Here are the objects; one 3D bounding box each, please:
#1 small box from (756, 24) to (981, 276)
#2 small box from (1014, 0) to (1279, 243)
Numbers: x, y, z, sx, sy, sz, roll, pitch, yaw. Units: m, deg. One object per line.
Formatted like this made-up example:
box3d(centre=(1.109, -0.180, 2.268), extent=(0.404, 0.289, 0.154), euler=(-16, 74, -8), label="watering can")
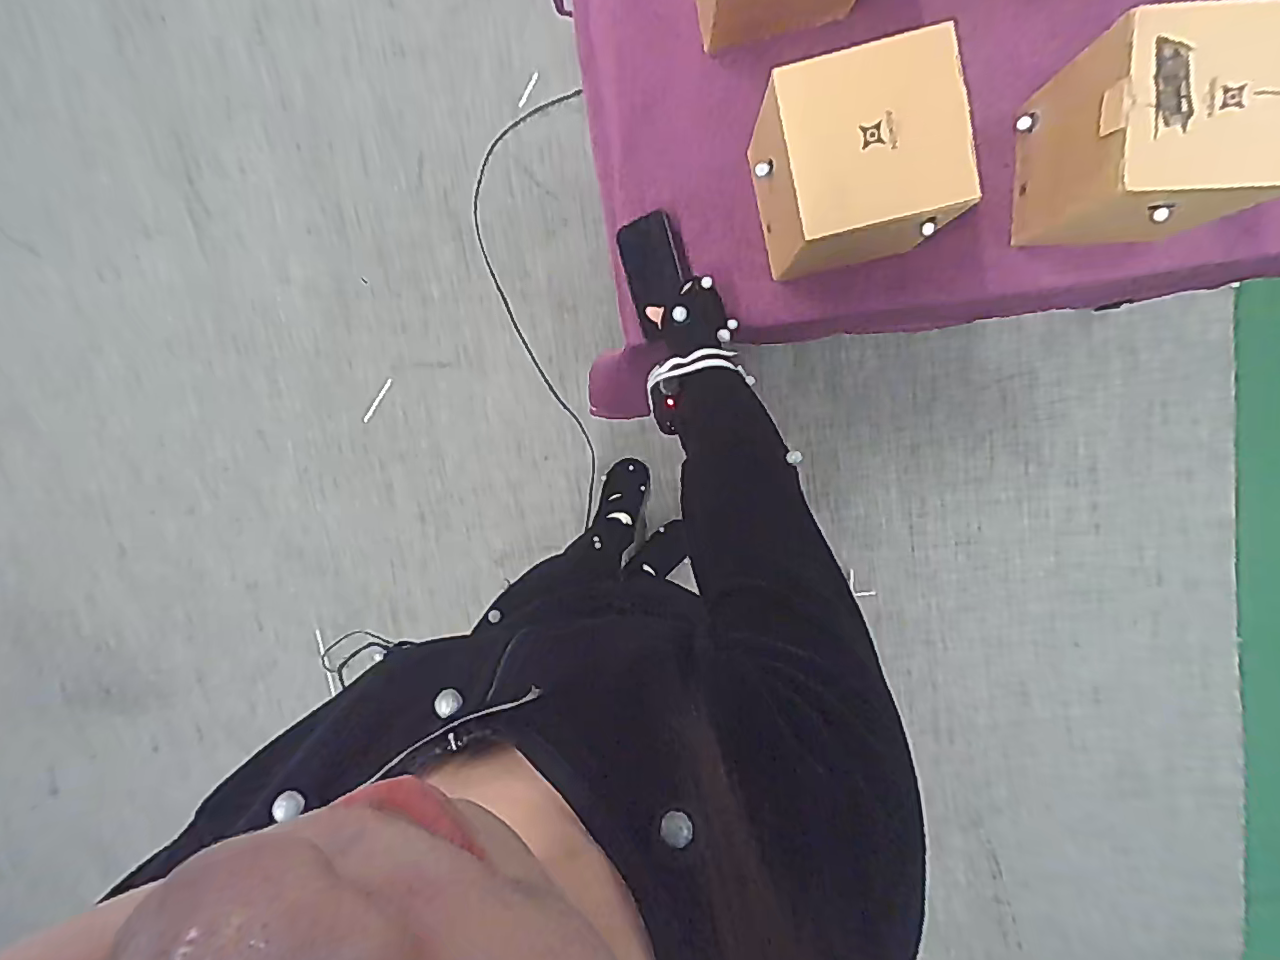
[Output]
box3d(centre=(0.235, -0.345, 0.605), extent=(0.179, 0.176, 0.168), euler=(-13, 96, 3), label="small box")
box3d(centre=(0.548, -0.369, 0.589), extent=(0.179, 0.176, 0.168), euler=(-1, 97, 1), label="small box")
